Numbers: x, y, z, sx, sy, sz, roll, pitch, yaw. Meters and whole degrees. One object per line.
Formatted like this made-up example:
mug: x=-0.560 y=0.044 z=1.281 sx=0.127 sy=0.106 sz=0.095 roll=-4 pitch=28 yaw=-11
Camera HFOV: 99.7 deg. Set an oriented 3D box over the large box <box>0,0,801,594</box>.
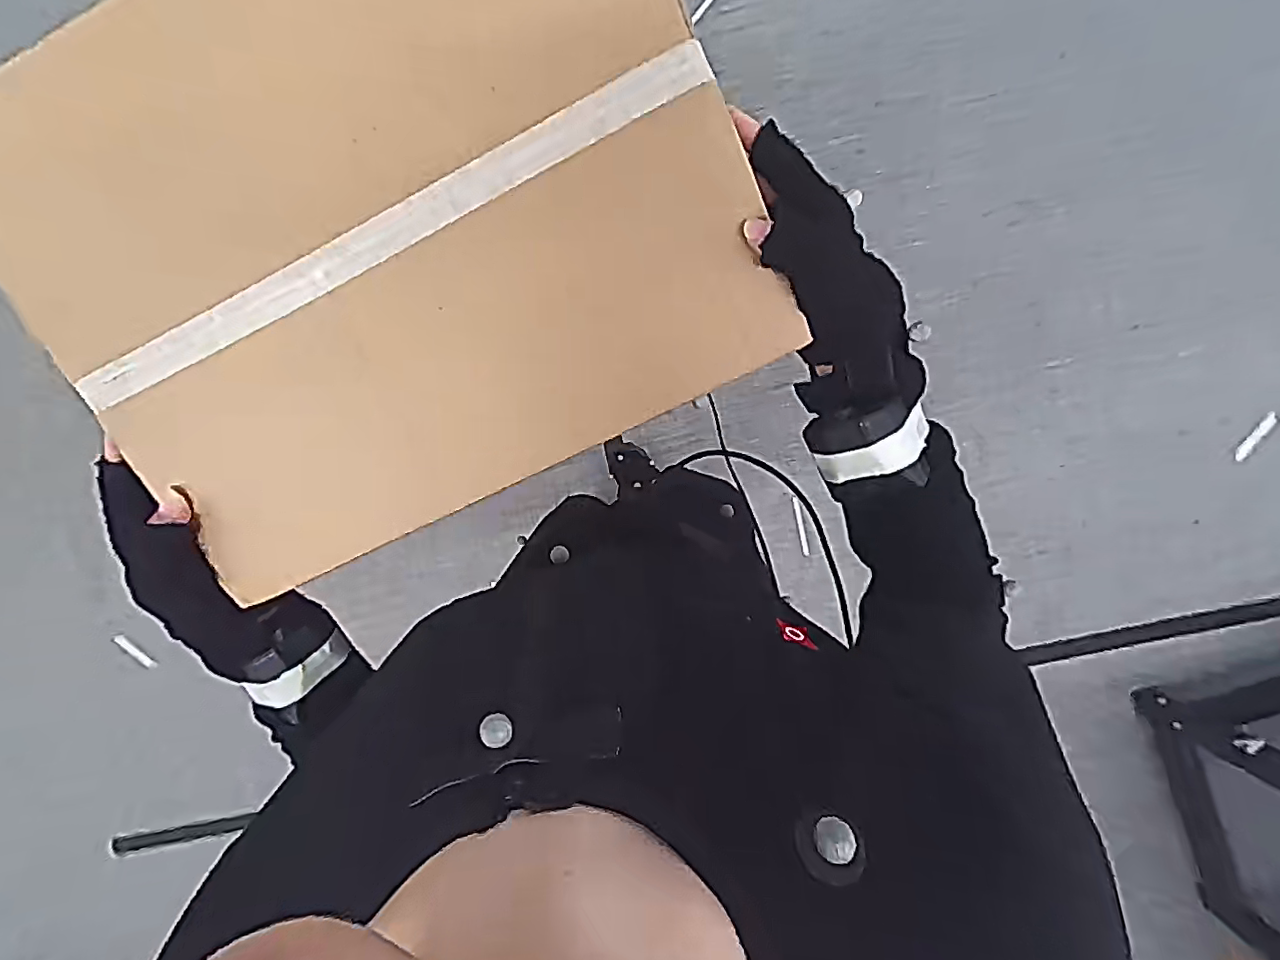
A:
large box: x=-0.140 y=-0.173 z=0.458 sx=0.408 sy=0.320 sz=0.320 roll=-24 pitch=103 yaw=7
